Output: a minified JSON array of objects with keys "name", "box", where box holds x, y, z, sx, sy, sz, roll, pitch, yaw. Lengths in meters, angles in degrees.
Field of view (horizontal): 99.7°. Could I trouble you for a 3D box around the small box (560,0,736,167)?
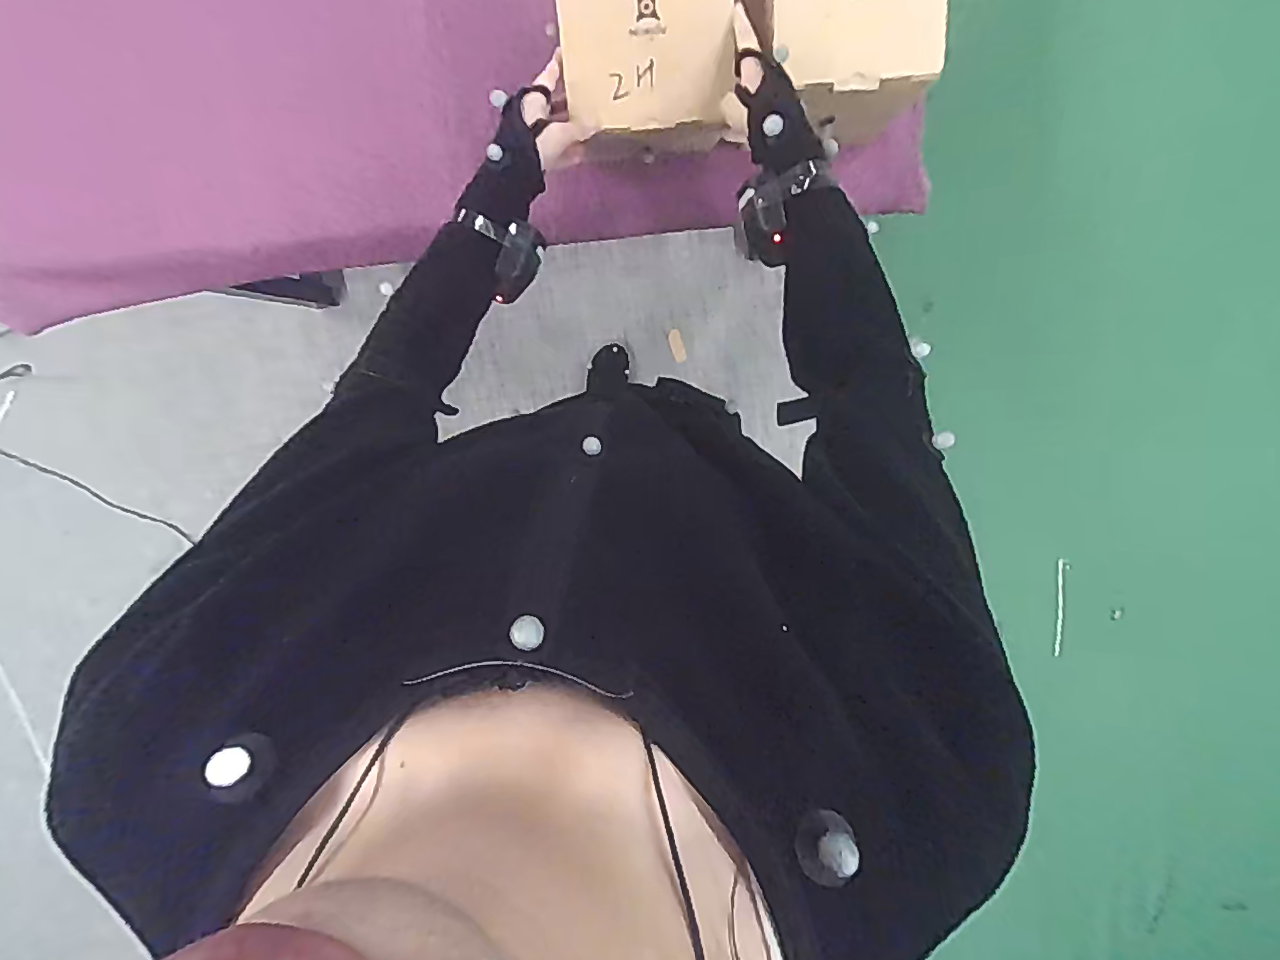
[{"name":"small box","box":[0.006,-0.451,0.577,0.168,0.176,0.179,-4,113,1]}]
